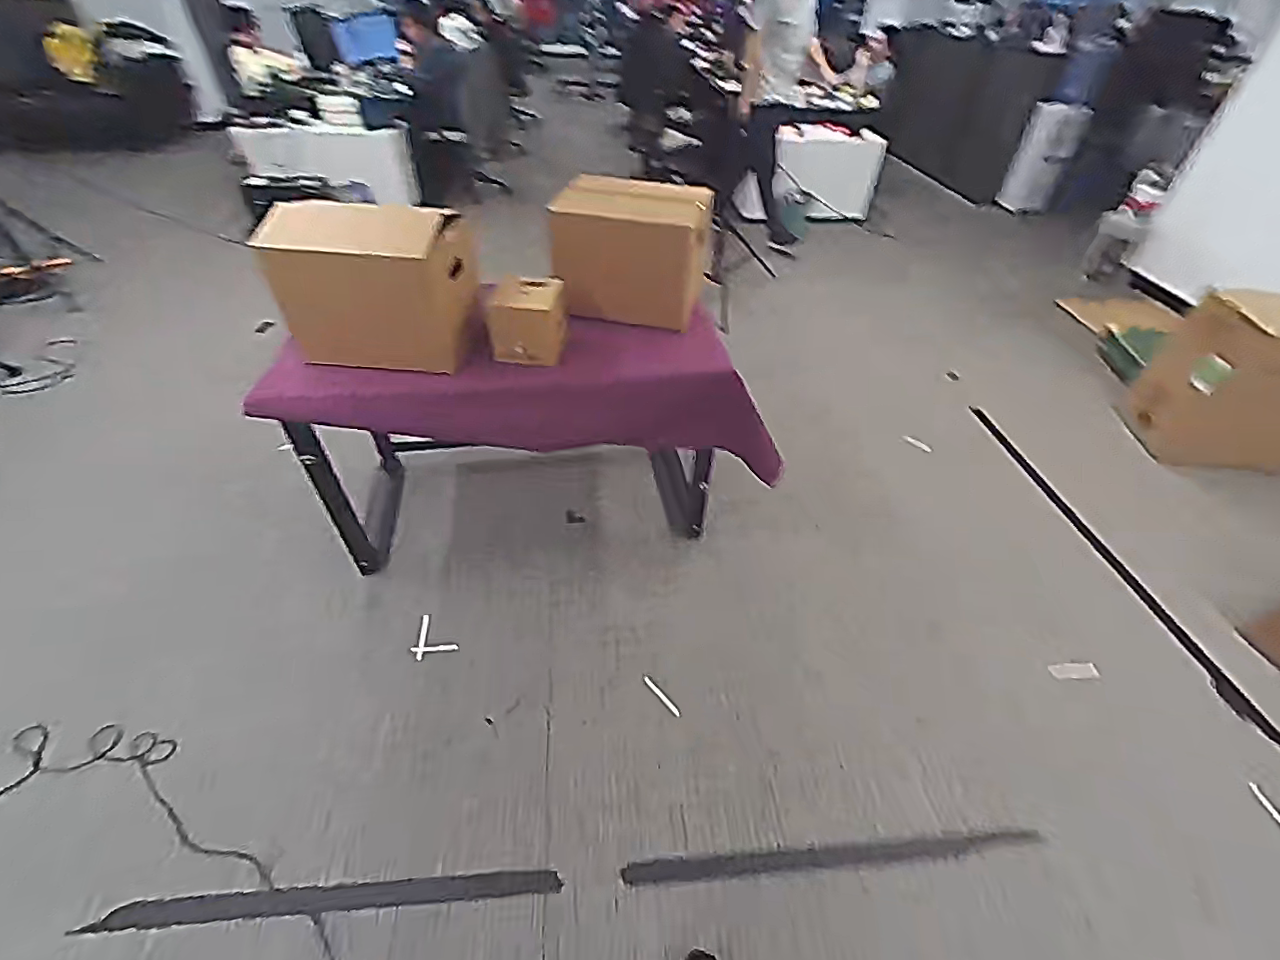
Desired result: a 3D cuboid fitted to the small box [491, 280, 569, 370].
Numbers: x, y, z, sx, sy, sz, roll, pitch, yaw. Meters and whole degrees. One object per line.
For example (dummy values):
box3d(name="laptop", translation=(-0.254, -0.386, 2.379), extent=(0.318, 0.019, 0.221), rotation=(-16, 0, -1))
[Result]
box3d(name="small box", translation=(-0.289, -0.420, 1.466), extent=(0.168, 0.176, 0.179), rotation=(5, 44, 3))
